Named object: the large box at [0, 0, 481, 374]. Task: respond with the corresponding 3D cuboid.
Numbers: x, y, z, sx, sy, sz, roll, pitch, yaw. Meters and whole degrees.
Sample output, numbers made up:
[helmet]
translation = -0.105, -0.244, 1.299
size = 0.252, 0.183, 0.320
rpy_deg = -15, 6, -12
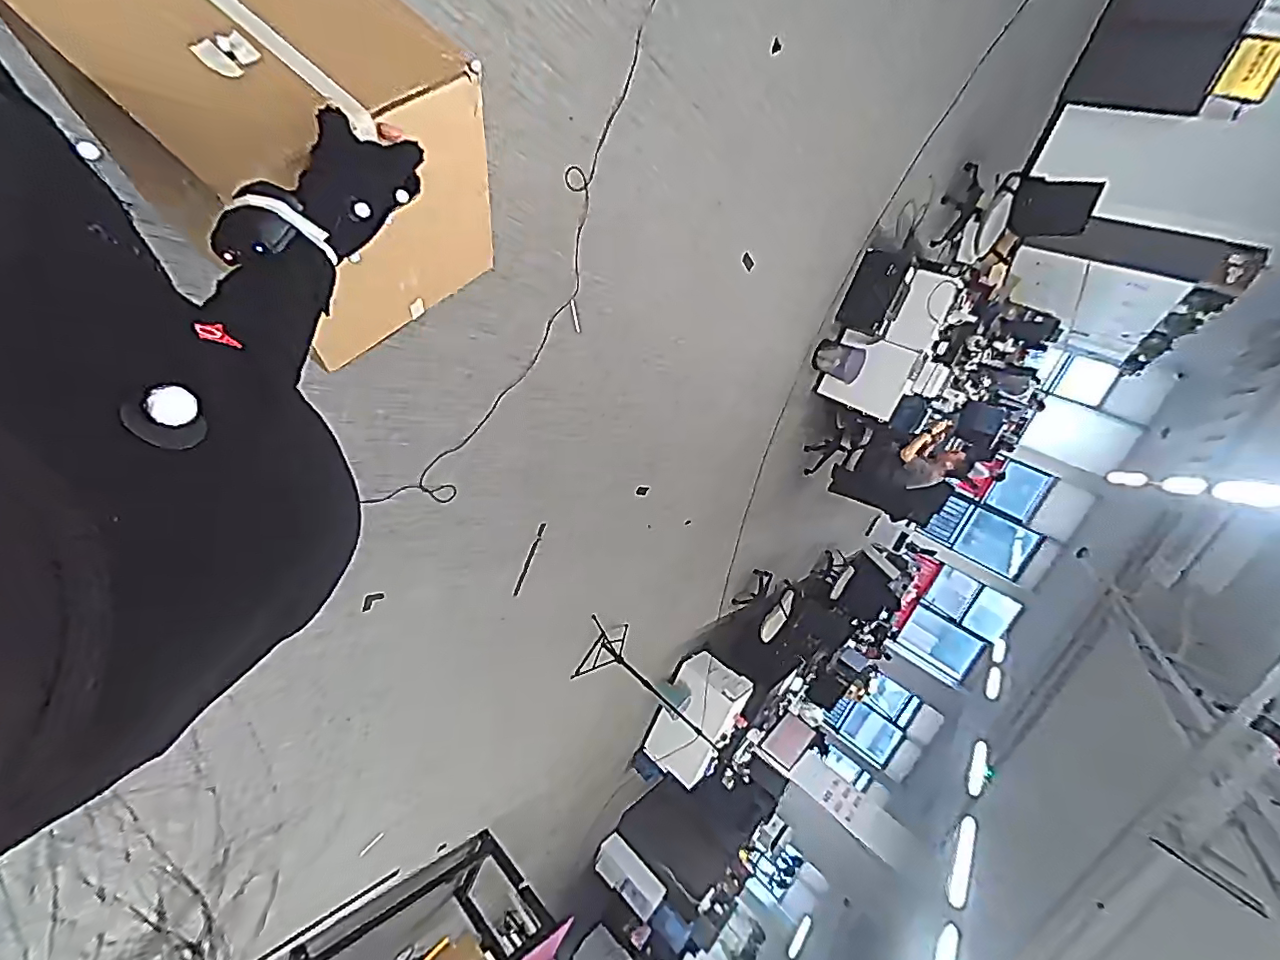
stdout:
[large box]
translation = -0.465, -0.423, 0.704
size = 0.320, 0.408, 0.320
rpy_deg = -46, 176, -22
